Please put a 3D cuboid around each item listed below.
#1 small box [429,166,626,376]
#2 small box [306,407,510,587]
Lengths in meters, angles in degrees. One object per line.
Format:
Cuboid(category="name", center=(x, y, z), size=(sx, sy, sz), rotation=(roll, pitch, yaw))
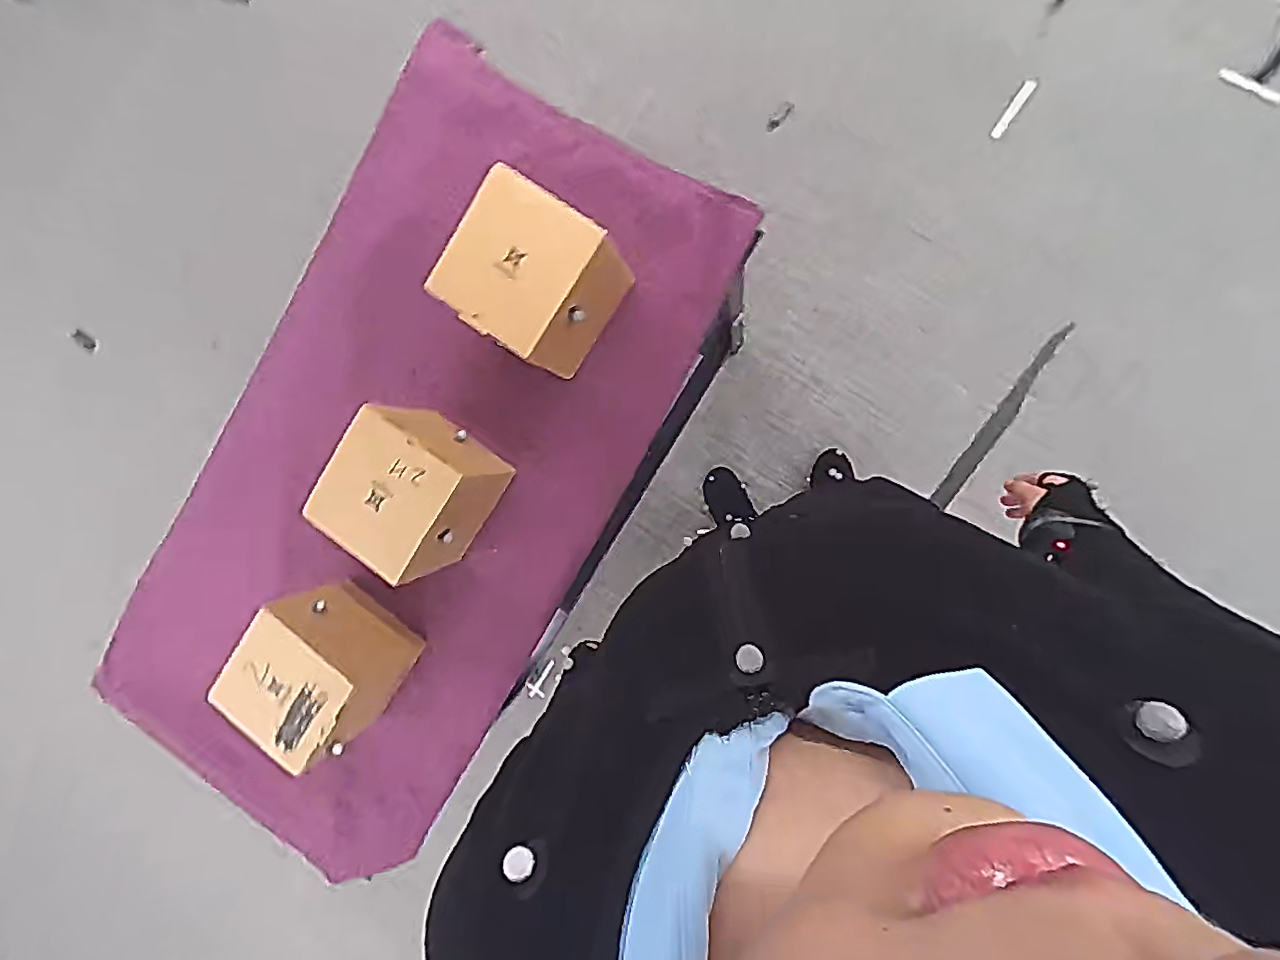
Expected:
Cuboid(category="small box", center=(-0.134, -0.262, 0.720), size=(0.168, 0.176, 0.179), rotation=(35, 99, 8))
Cuboid(category="small box", center=(-0.313, 0.019, 0.766), size=(0.168, 0.176, 0.179), rotation=(35, 98, 6))
